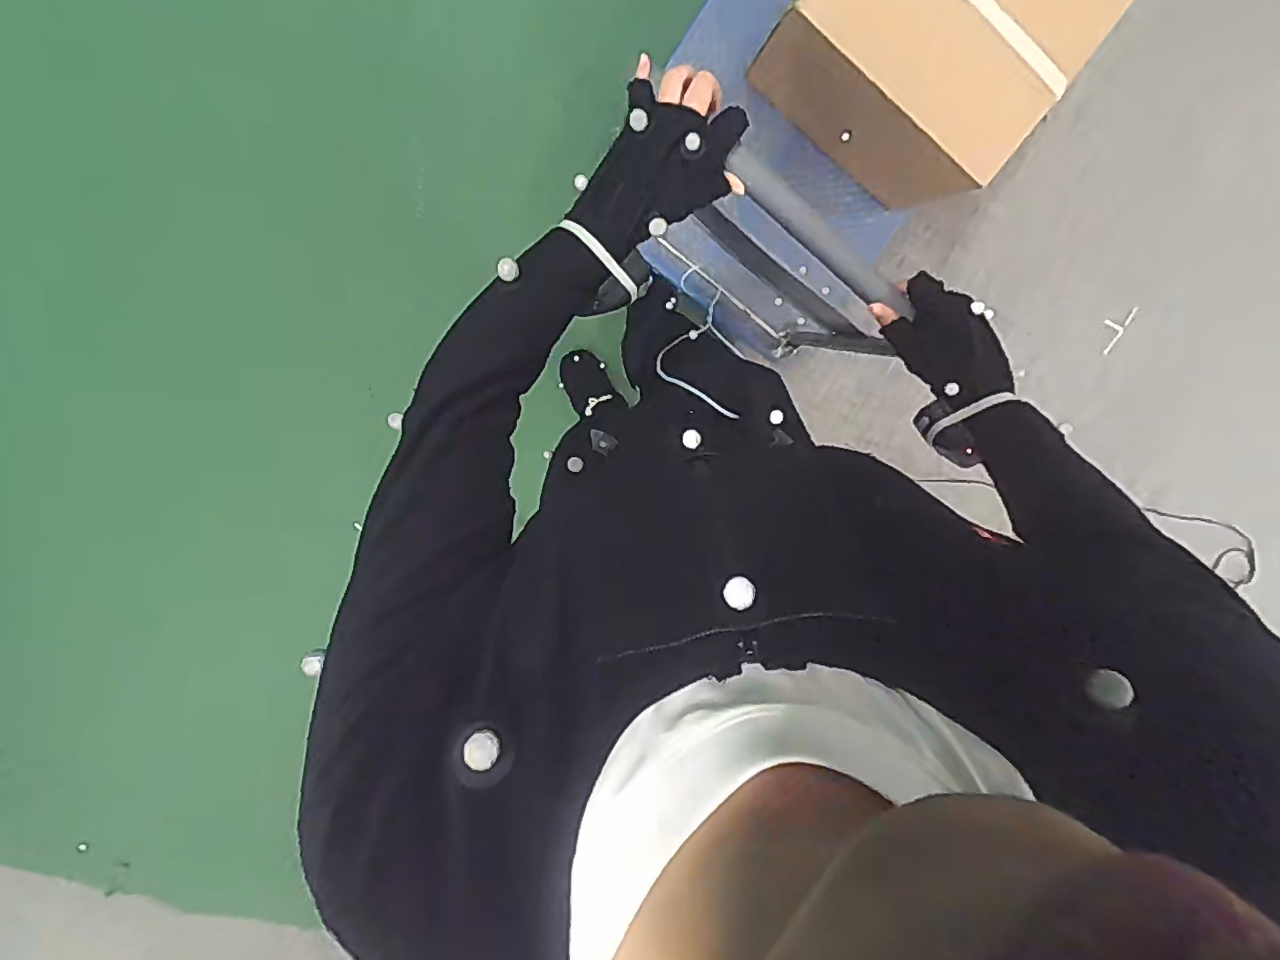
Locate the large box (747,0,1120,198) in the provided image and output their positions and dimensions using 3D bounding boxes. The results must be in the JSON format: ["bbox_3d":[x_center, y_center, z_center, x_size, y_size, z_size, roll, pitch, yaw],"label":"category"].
[{"bbox_3d":[0.452,-0.746,0.902,0.408,0.320,0.320,33,106,-13],"label":"large box"}]
